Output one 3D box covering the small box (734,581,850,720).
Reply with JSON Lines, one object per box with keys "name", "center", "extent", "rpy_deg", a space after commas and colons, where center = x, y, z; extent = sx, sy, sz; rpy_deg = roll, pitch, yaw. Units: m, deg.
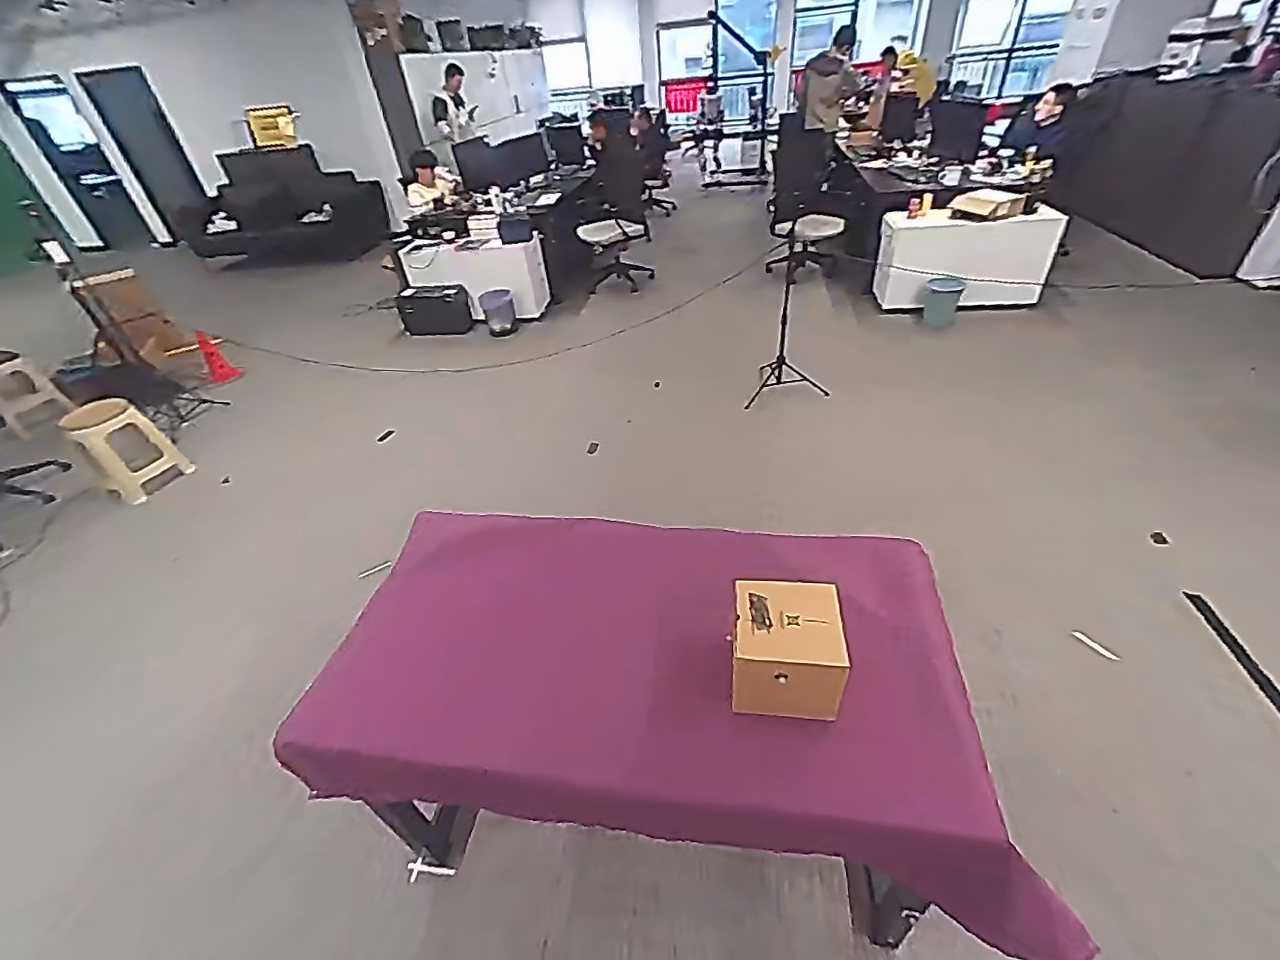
{"name": "small box", "center": [0.257, 0.300, 0.951], "extent": [0.179, 0.176, 0.168], "rpy_deg": [2, 39, 10]}
